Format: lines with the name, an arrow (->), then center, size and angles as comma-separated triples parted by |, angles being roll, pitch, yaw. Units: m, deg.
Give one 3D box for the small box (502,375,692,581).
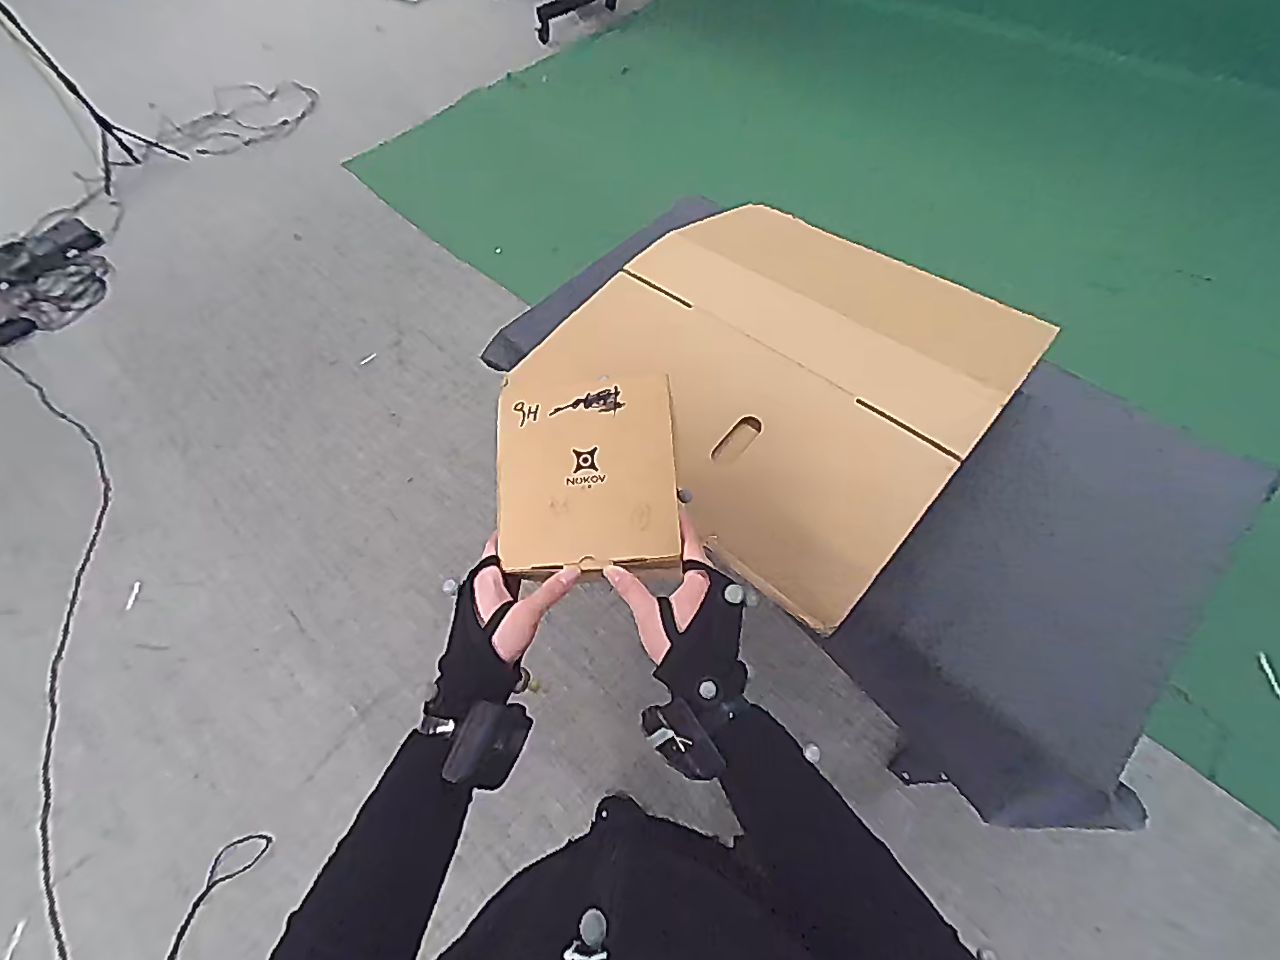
small box -> -0.037, 0.012, 0.578 | 0.168, 0.176, 0.179 | -7, 74, 6
